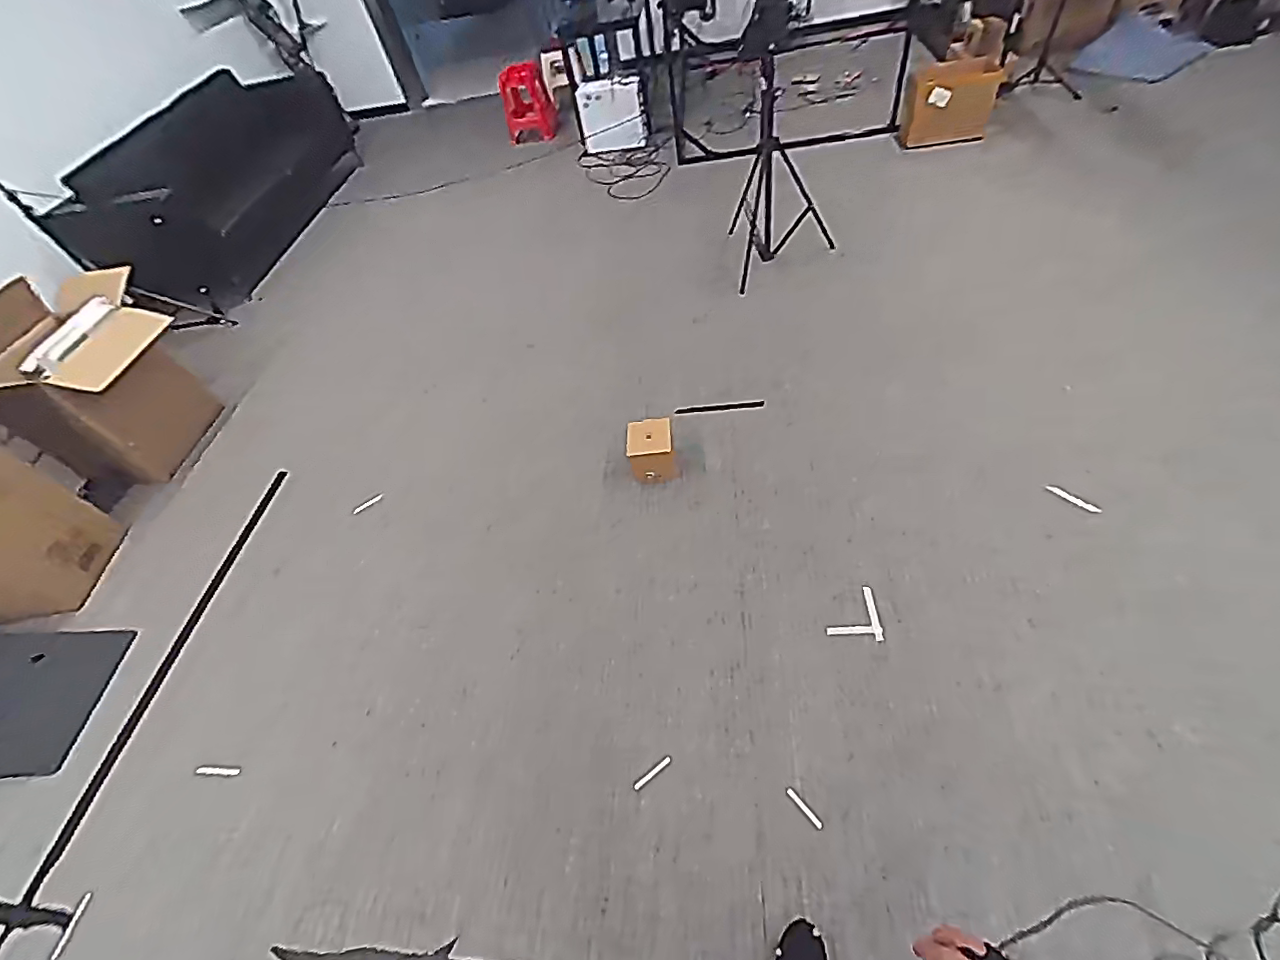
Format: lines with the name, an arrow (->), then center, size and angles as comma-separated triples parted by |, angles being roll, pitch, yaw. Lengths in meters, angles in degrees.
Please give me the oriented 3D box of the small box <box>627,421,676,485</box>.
small box -> 0.048, -0.103, 2.085 | 0.168, 0.176, 0.179 | -6, 51, 9
